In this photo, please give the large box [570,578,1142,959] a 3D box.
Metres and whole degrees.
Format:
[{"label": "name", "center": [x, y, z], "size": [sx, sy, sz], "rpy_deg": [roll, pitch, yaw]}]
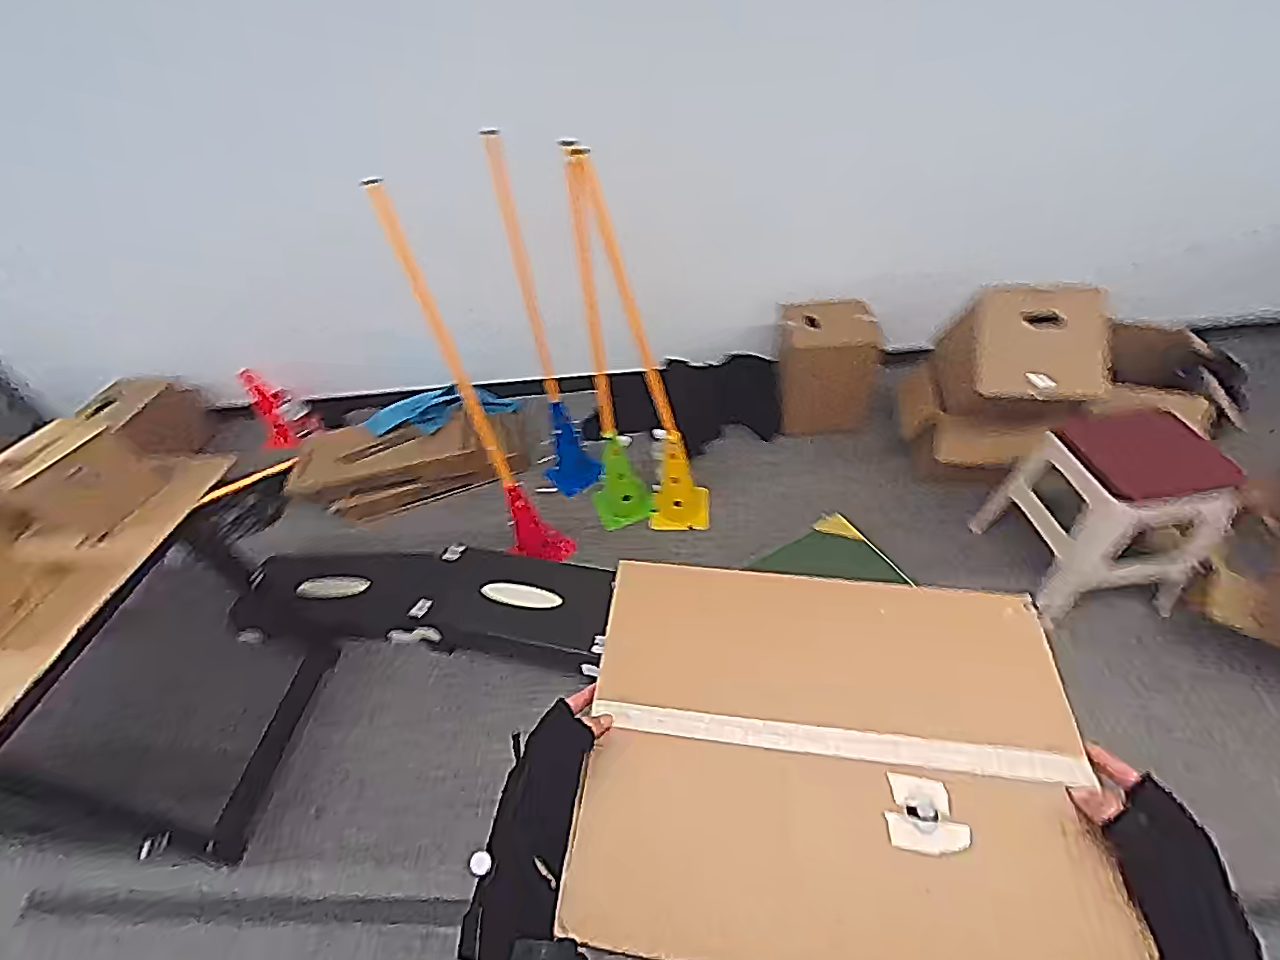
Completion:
[{"label": "large box", "center": [0.170, 0.328, 0.576], "size": [0.408, 0.320, 0.320], "rpy_deg": [4, 52, 8]}]
